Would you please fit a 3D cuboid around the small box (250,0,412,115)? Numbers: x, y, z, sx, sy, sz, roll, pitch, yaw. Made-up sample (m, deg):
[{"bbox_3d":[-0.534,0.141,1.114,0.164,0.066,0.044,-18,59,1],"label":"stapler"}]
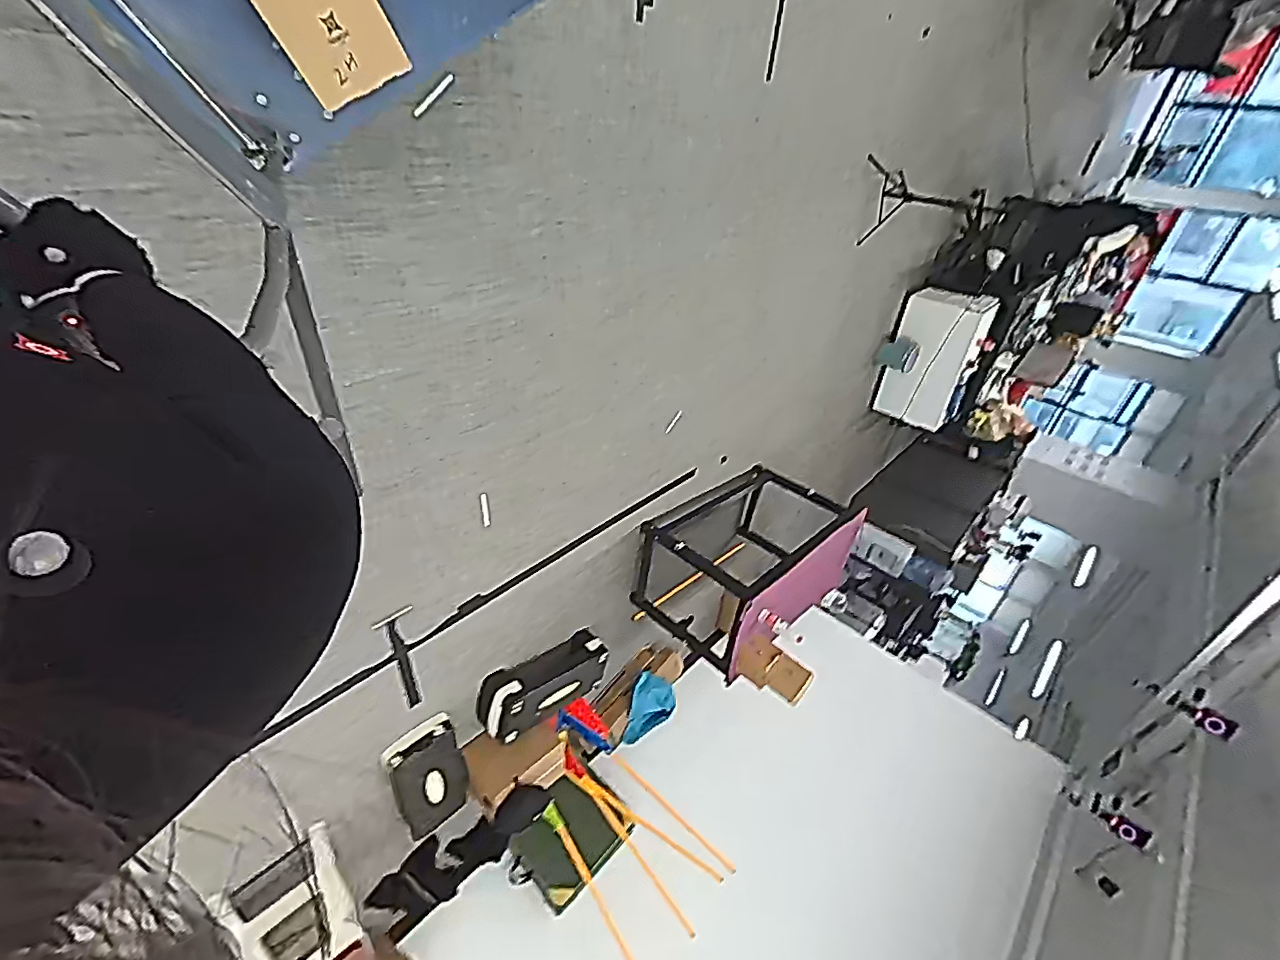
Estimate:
[{"bbox_3d":[-0.513,-0.751,0.891,0.168,0.176,0.179,-30,144,-3],"label":"small box"}]
